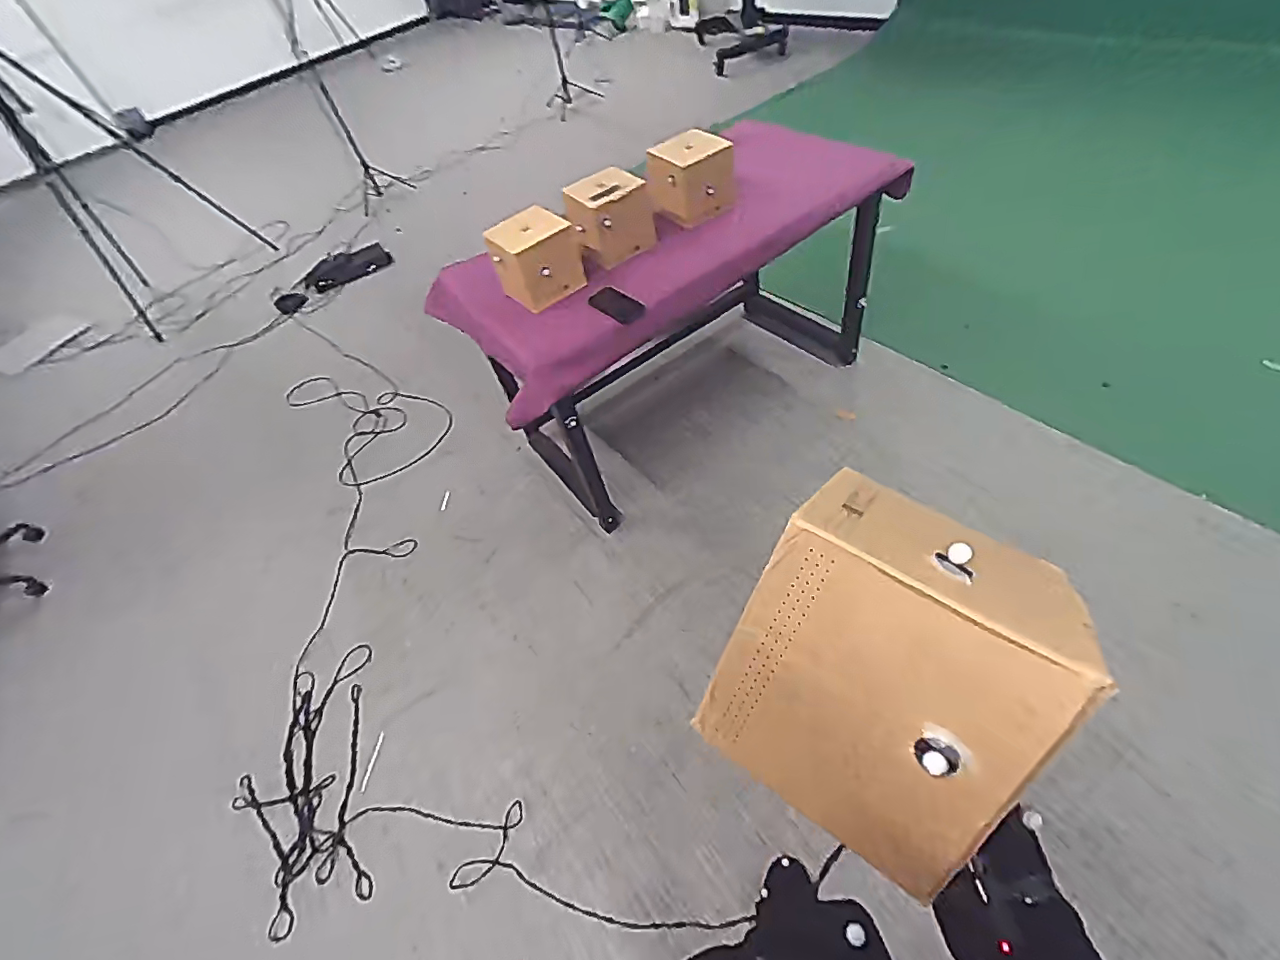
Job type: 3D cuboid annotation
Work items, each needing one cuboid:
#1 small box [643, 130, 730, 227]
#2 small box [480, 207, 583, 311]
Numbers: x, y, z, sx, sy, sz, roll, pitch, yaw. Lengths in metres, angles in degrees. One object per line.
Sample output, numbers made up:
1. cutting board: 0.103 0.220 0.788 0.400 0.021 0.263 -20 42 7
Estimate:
1. small box: 0.134 -0.828 1.493 0.168 0.176 0.179 -32 52 -13
2. small box: -0.269 -0.555 1.372 0.168 0.176 0.179 -37 52 -16
